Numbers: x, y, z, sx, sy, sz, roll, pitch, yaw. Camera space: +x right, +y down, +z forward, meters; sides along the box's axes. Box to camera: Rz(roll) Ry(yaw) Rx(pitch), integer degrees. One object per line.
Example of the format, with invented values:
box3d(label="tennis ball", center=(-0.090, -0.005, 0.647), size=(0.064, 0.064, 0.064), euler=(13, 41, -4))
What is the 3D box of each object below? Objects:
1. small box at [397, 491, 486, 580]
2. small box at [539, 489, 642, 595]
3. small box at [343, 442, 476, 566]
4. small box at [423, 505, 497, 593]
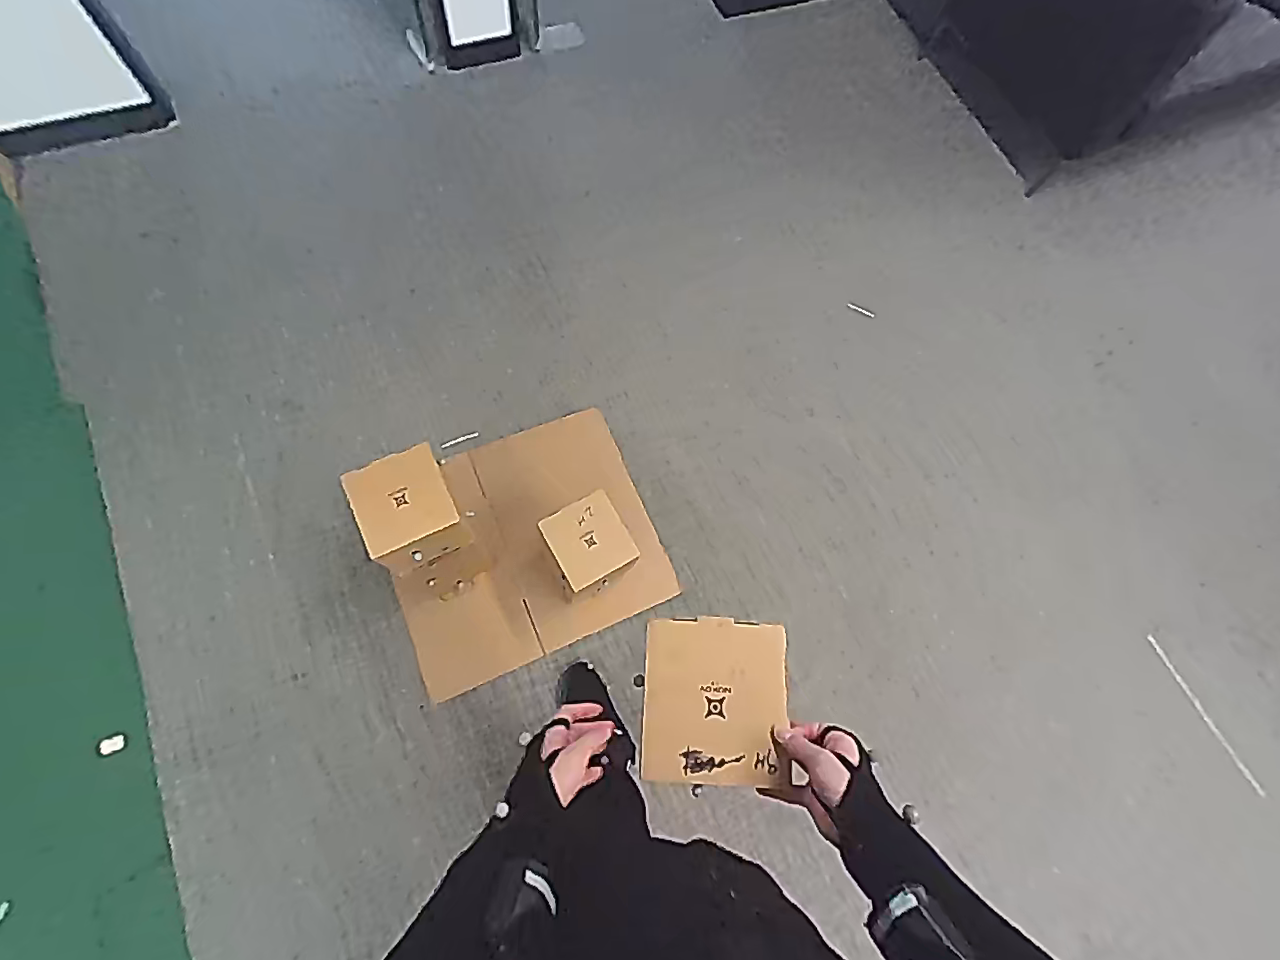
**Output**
box3d(label="small box", center=(-0.462, 0.112, 1.212), size=(0.168, 0.176, 0.179), euler=(-25, 75, -14))
box3d(label="small box", center=(-0.114, 0.149, 1.235), size=(0.168, 0.176, 0.179), euler=(-27, 77, -16))
box3d(label="small box", center=(-0.441, 0.057, 1.061), size=(0.168, 0.176, 0.179), euler=(-25, 75, -14))
box3d(label="small box", center=(-0.480, 0.165, 1.365), size=(0.168, 0.176, 0.179), euler=(-29, 77, -15))
